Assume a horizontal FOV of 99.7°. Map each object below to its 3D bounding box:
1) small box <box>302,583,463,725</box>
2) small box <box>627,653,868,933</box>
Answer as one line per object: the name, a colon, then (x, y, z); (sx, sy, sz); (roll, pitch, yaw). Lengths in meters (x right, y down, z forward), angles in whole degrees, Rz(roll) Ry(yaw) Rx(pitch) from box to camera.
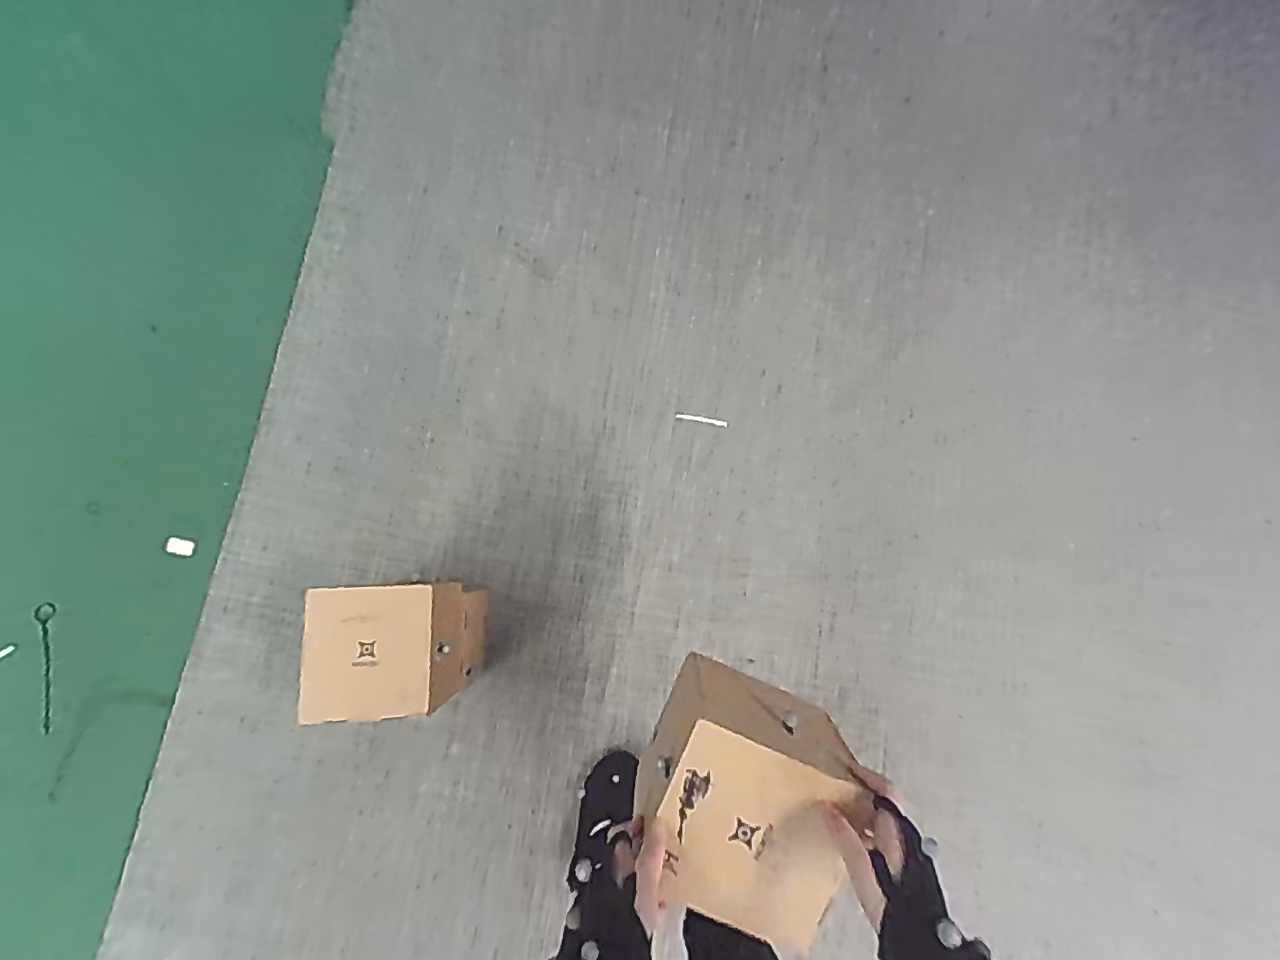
small box: (-0.366, 0.246, 0.800); (0.168, 0.176, 0.179); (-1, 80, -5)
small box: (0.101, 0.310, 0.576); (0.179, 0.176, 0.168); (23, 94, 1)
